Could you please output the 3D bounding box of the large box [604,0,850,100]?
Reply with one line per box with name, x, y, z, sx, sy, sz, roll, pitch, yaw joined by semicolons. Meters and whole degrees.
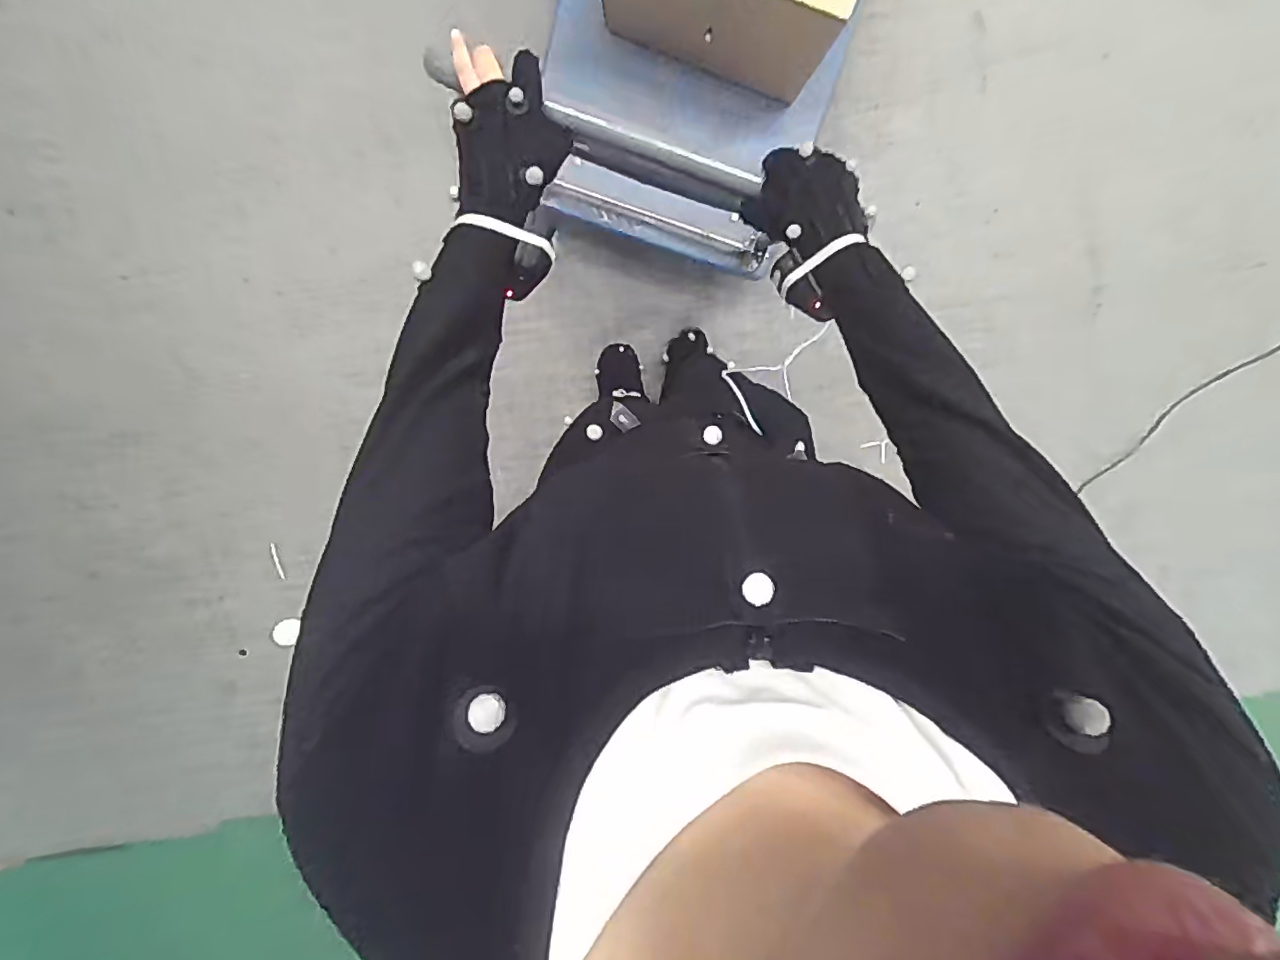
large box;0.168;-0.932;0.917;0.408;0.320;0.320;18;103;-4
